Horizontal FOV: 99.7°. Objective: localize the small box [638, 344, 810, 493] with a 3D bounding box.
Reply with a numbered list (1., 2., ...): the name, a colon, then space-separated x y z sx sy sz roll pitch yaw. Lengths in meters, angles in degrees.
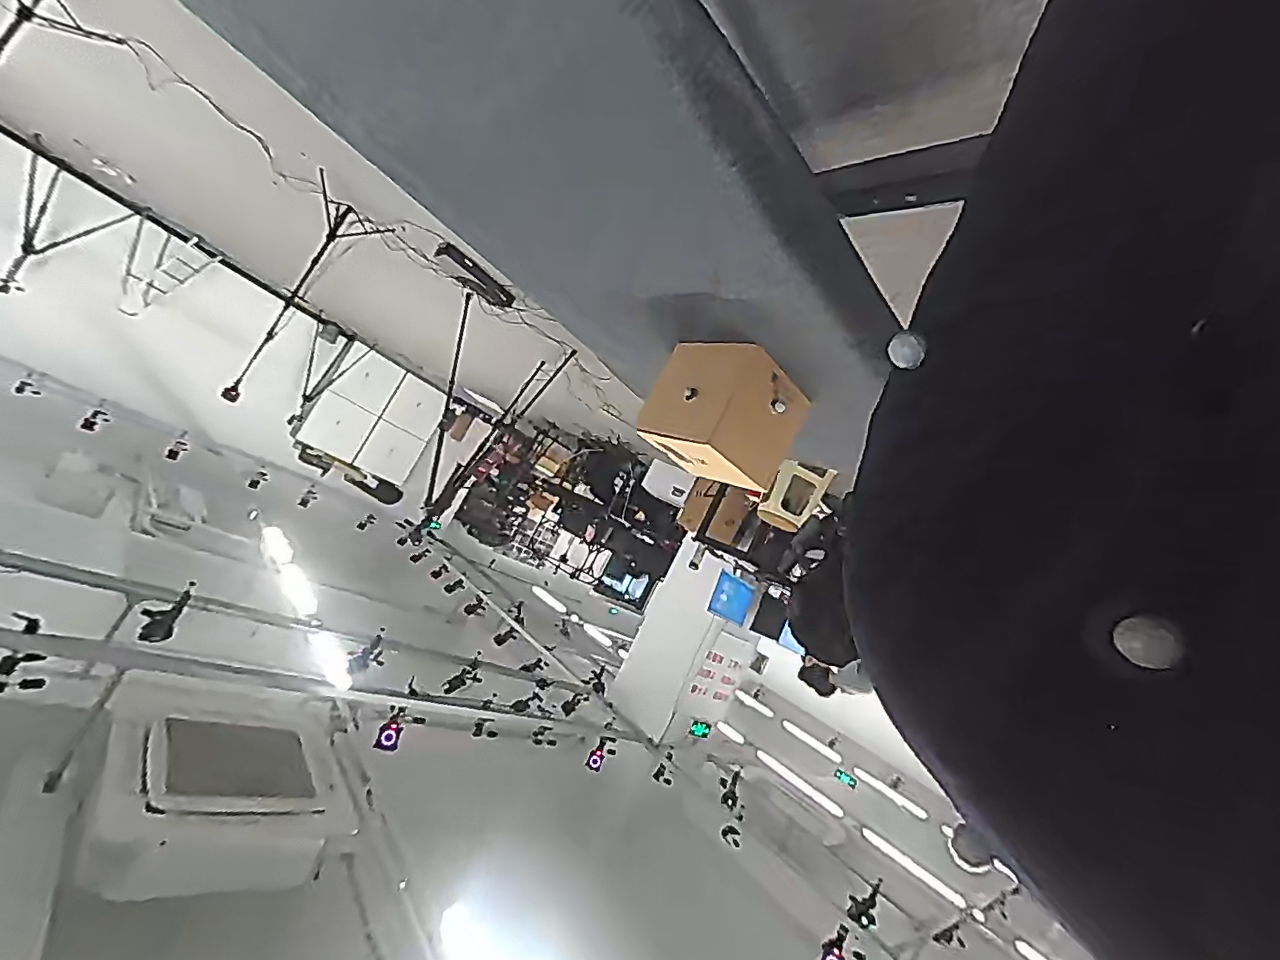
1. small box: 0.136 -0.103 0.860 0.168 0.176 0.179 34 170 -39
